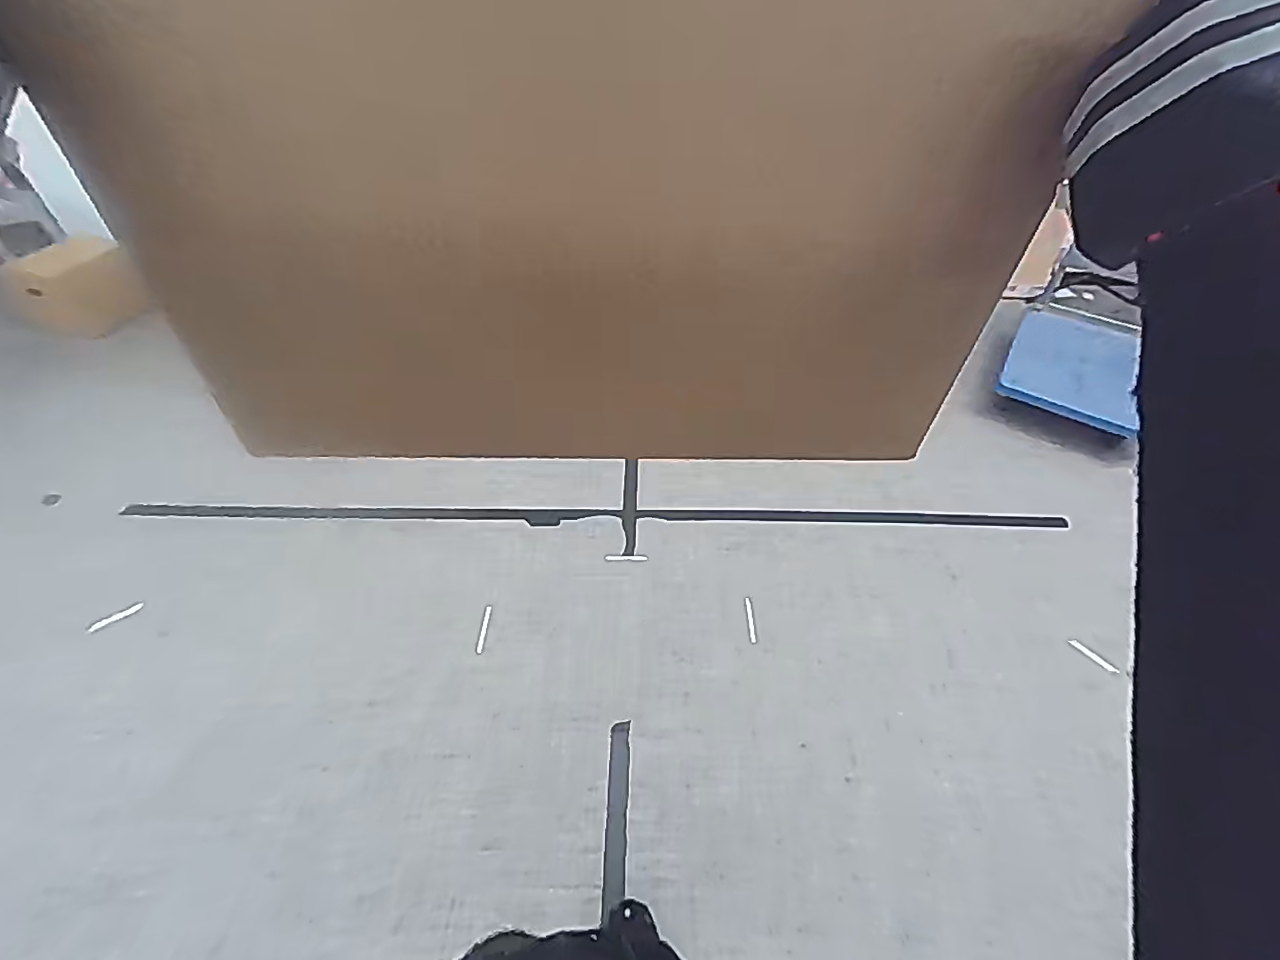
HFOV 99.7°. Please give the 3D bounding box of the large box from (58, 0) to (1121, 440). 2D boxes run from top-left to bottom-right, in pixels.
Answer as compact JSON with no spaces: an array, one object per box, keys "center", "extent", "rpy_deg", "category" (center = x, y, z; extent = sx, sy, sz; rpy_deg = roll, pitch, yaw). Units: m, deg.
[{"center":[-0.024,-0.236,0.346],"extent":[0.408,0.320,0.320],"rpy_deg":[1,45,-5],"category":"large box"}]
